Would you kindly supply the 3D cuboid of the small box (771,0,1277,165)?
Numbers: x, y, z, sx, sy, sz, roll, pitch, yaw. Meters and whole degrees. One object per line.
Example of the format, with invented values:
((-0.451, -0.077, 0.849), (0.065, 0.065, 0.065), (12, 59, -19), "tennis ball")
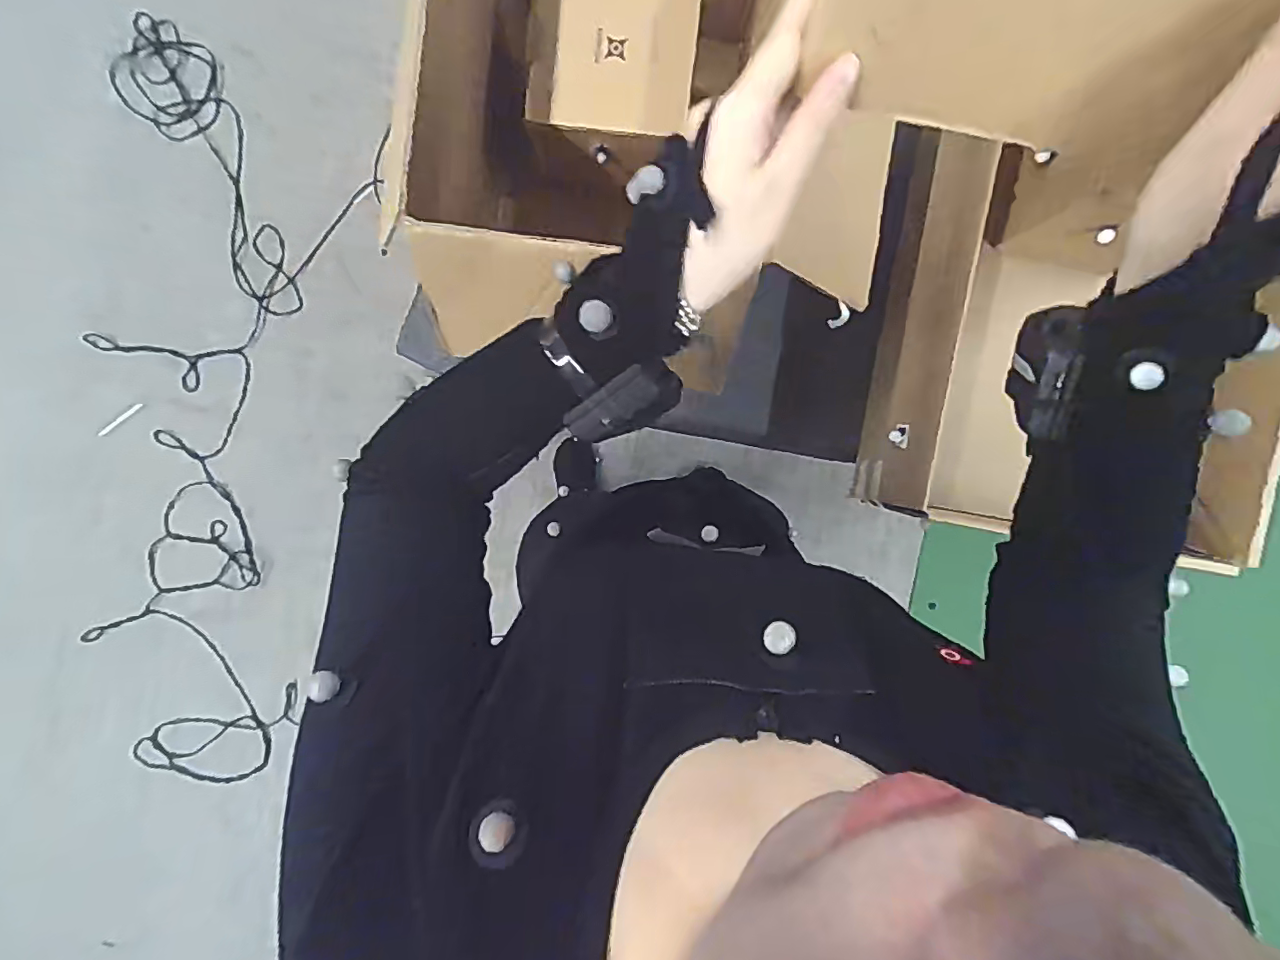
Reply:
((0.167, -0.272, 0.222), (0.179, 0.168, 0.176), (11, 62, 0), "small box")
